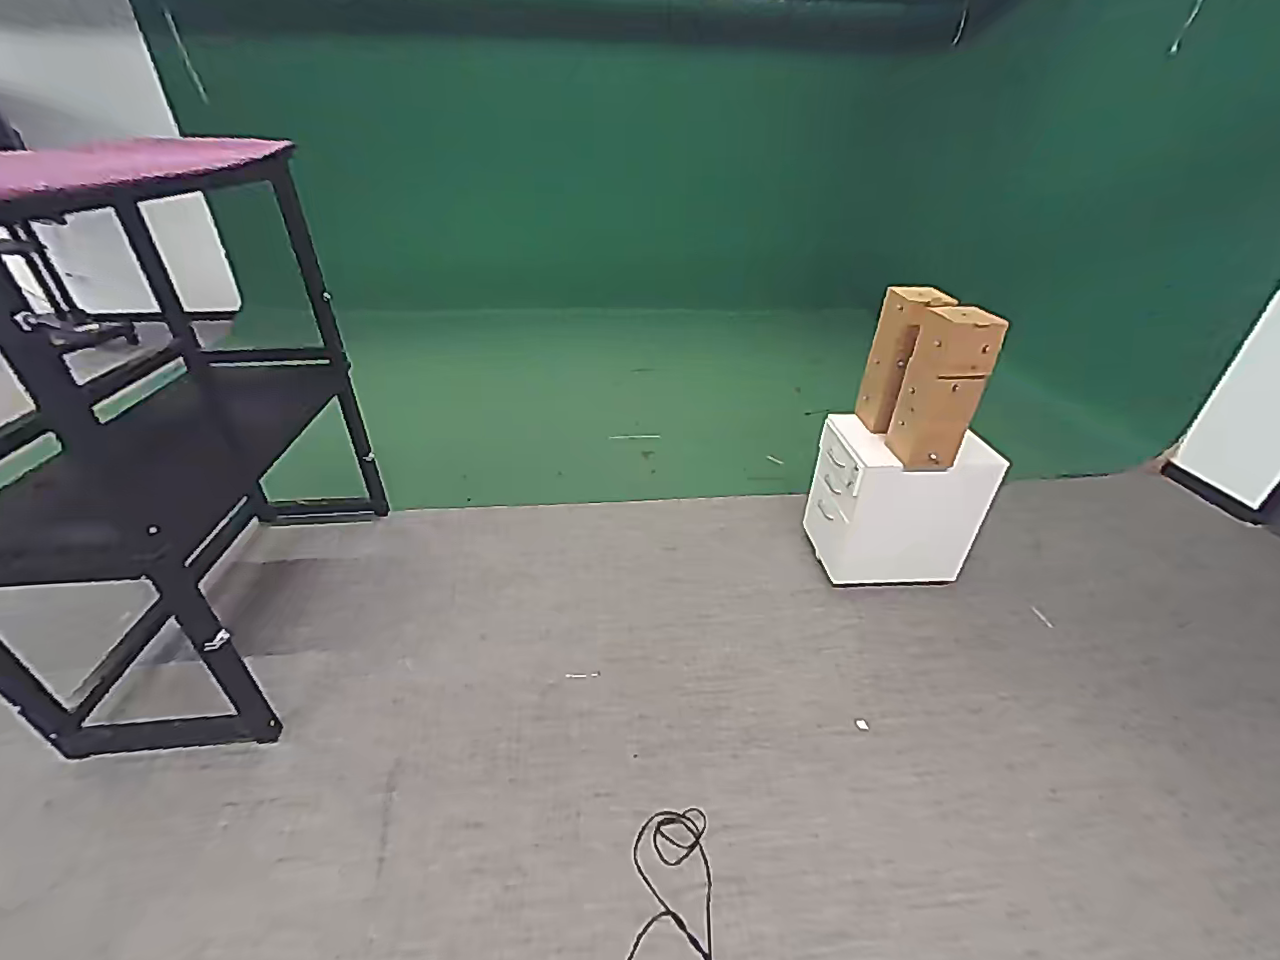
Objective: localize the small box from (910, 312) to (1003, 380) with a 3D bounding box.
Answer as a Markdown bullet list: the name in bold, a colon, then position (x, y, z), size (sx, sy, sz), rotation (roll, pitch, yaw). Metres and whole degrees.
- **small box**: position (0.982, -0.419, 1.692), size (0.168, 0.176, 0.179), rotation (-1, 31, -4)

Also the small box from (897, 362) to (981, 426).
- **small box**: position (0.977, -0.286, 1.787), size (0.179, 0.176, 0.168), rotation (-2, 33, -6)

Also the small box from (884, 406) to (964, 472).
- **small box**: position (0.972, -0.143, 1.870), size (0.168, 0.176, 0.179), rotation (-1, 33, -3)

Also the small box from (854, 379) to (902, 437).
- **small box**: position (0.943, -0.278, 2.075), size (0.168, 0.176, 0.179), rotation (-1, 34, -3)

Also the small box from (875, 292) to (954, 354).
- **small box**: position (0.951, -0.551, 1.895), size (0.168, 0.176, 0.179), rotation (0, 34, -4)
